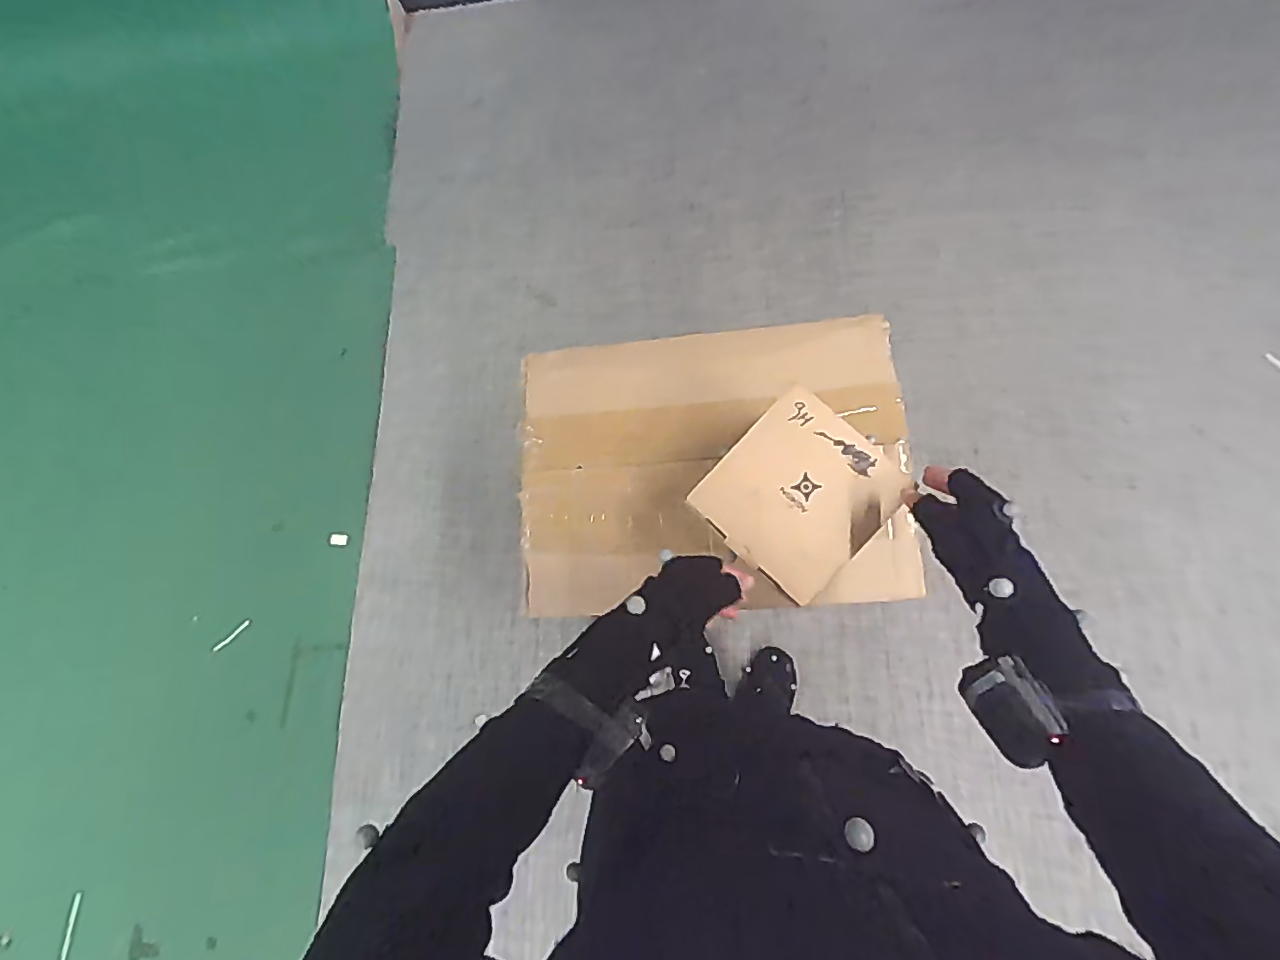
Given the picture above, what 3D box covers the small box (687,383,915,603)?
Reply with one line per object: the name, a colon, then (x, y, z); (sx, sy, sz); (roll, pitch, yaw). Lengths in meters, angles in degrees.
small box: (0.177, 0.020, 0.643); (0.168, 0.176, 0.179); (44, 91, 9)
